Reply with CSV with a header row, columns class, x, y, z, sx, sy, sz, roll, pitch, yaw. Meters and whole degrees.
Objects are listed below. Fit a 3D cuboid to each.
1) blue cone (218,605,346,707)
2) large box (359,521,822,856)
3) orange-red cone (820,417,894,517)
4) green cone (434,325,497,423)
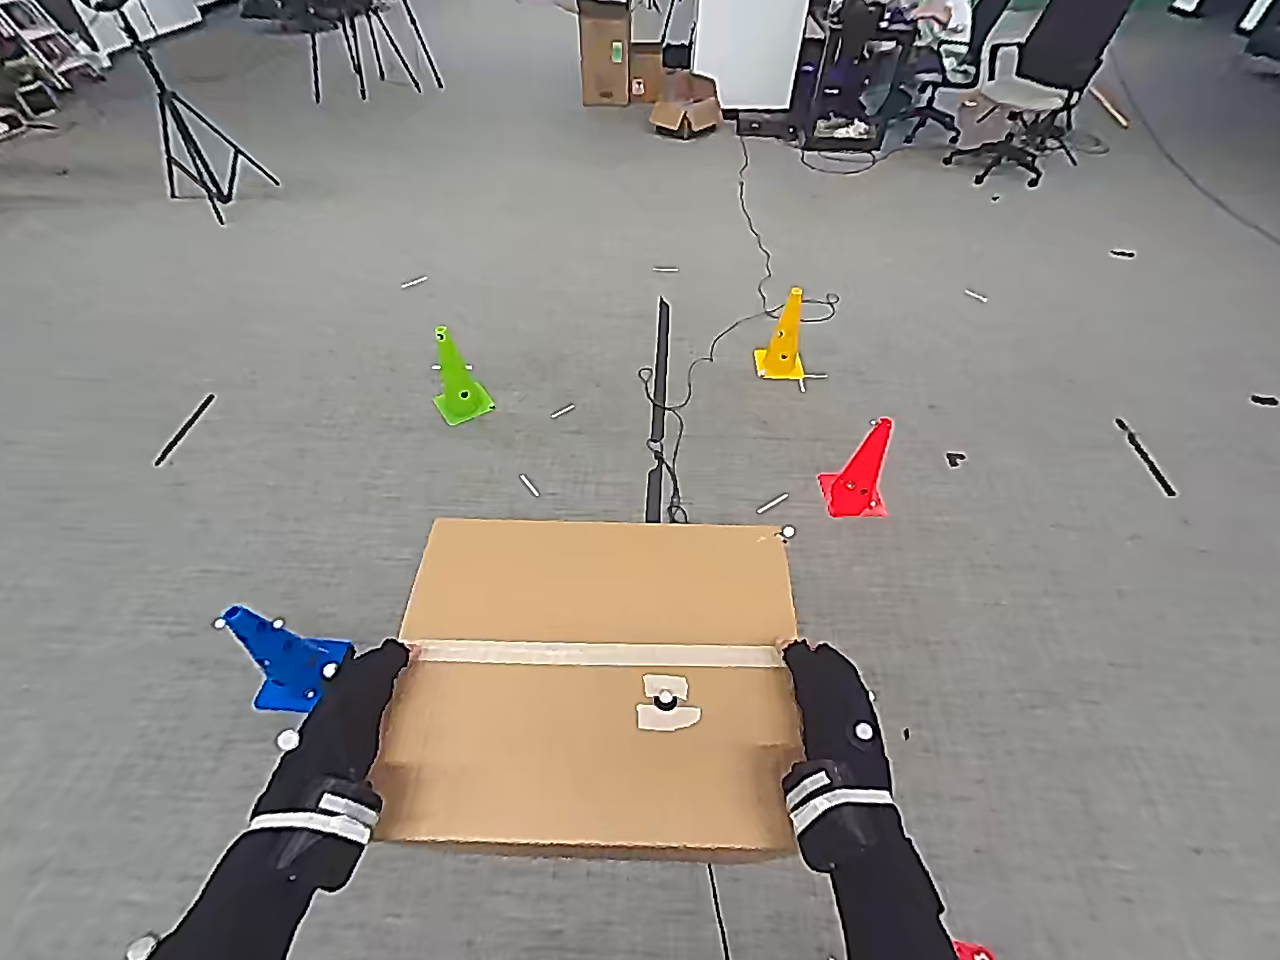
class,x,y,z,sx,sy,sz,roll,pitch,yaw
blue cone,-0.925,0.419,1.365,0.192,0.380,0.193,4,49,5
large box,-0.044,0.265,0.664,0.408,0.320,0.320,2,54,0
orange-red cone,0.748,-0.064,1.774,0.198,0.360,0.199,1,48,-1
green cone,-0.713,-0.433,2.078,0.202,0.368,0.200,-28,54,-21
